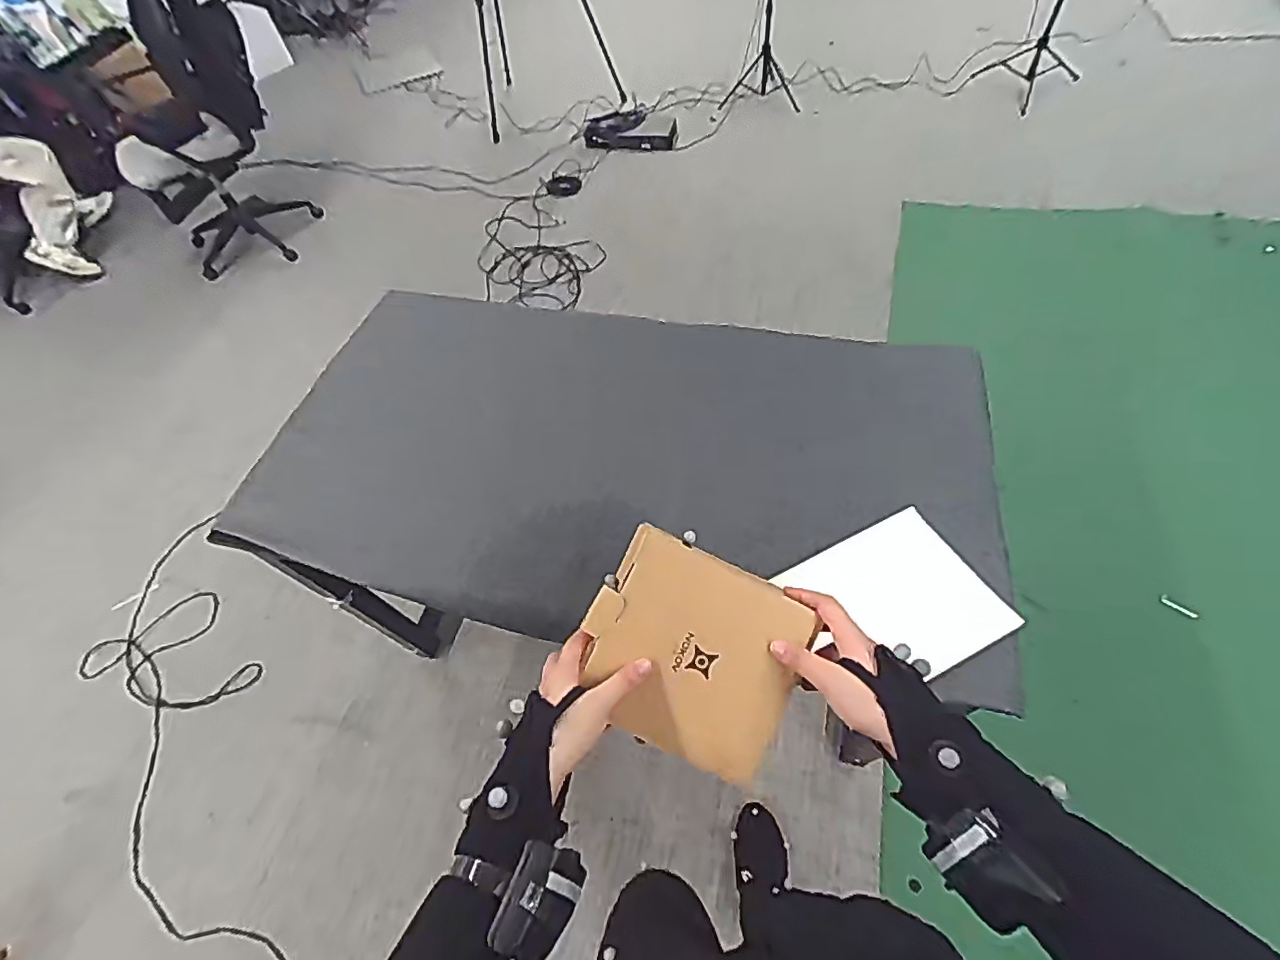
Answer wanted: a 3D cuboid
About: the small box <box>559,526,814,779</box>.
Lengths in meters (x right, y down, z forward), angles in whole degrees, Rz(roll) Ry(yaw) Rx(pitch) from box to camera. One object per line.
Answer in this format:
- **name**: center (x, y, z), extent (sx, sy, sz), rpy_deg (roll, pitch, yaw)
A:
- **small box**: center (0.041, 0.152, 0.547), extent (0.179, 0.176, 0.168), rpy_deg (25, 88, 1)
